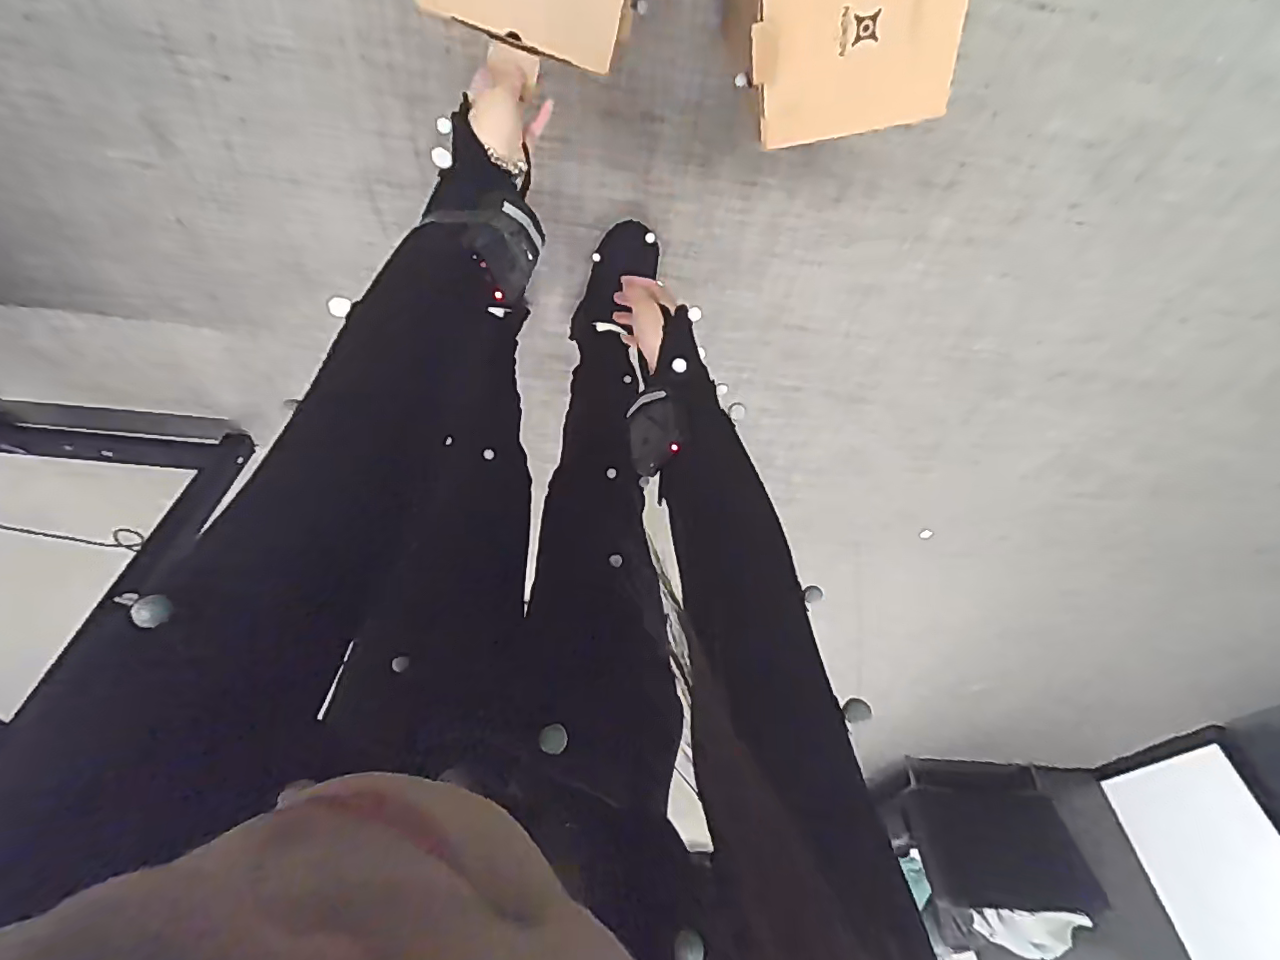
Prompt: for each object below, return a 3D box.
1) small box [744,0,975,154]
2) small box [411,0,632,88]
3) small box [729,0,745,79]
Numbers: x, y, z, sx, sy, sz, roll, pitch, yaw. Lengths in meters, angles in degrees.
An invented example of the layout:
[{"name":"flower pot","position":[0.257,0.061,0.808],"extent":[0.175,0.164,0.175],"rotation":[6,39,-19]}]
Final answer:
[{"name":"small box","position":[0.193,-0.443,0.515],"extent":[0.179,0.176,0.168],"rotation":[-8,139,8]},{"name":"small box","position":[-0.081,-0.469,0.463],"extent":[0.168,0.176,0.179],"rotation":[14,124,-12]},{"name":"small box","position":[0.204,-0.570,0.617],"extent":[0.179,0.176,0.168],"rotation":[1,138,-1]}]
